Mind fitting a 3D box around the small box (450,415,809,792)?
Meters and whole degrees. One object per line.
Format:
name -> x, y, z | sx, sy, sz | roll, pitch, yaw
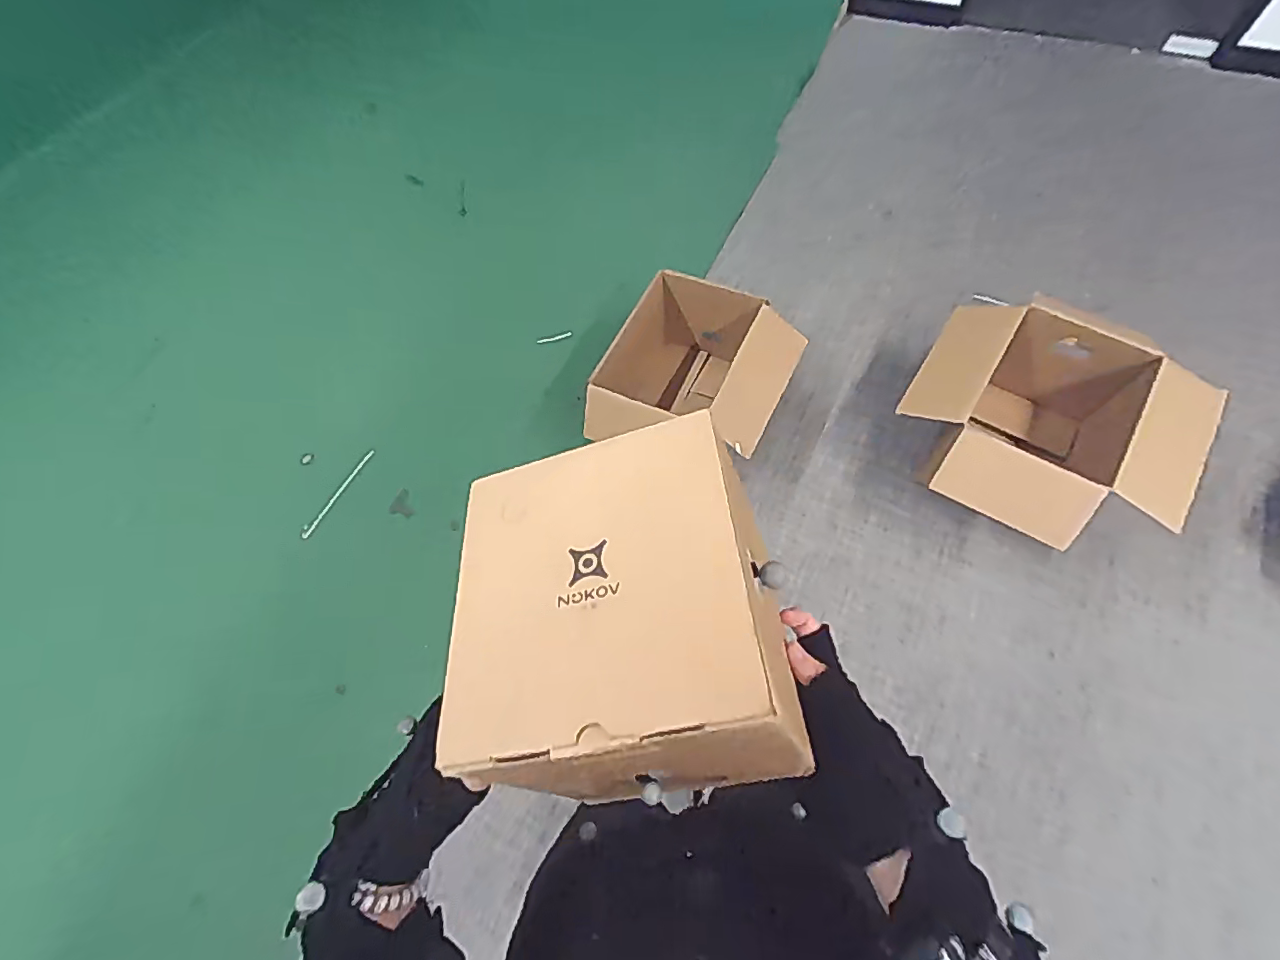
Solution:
small box -> 0.003, 0.092, 0.360 | 0.168, 0.176, 0.179 | -17, 53, 14
